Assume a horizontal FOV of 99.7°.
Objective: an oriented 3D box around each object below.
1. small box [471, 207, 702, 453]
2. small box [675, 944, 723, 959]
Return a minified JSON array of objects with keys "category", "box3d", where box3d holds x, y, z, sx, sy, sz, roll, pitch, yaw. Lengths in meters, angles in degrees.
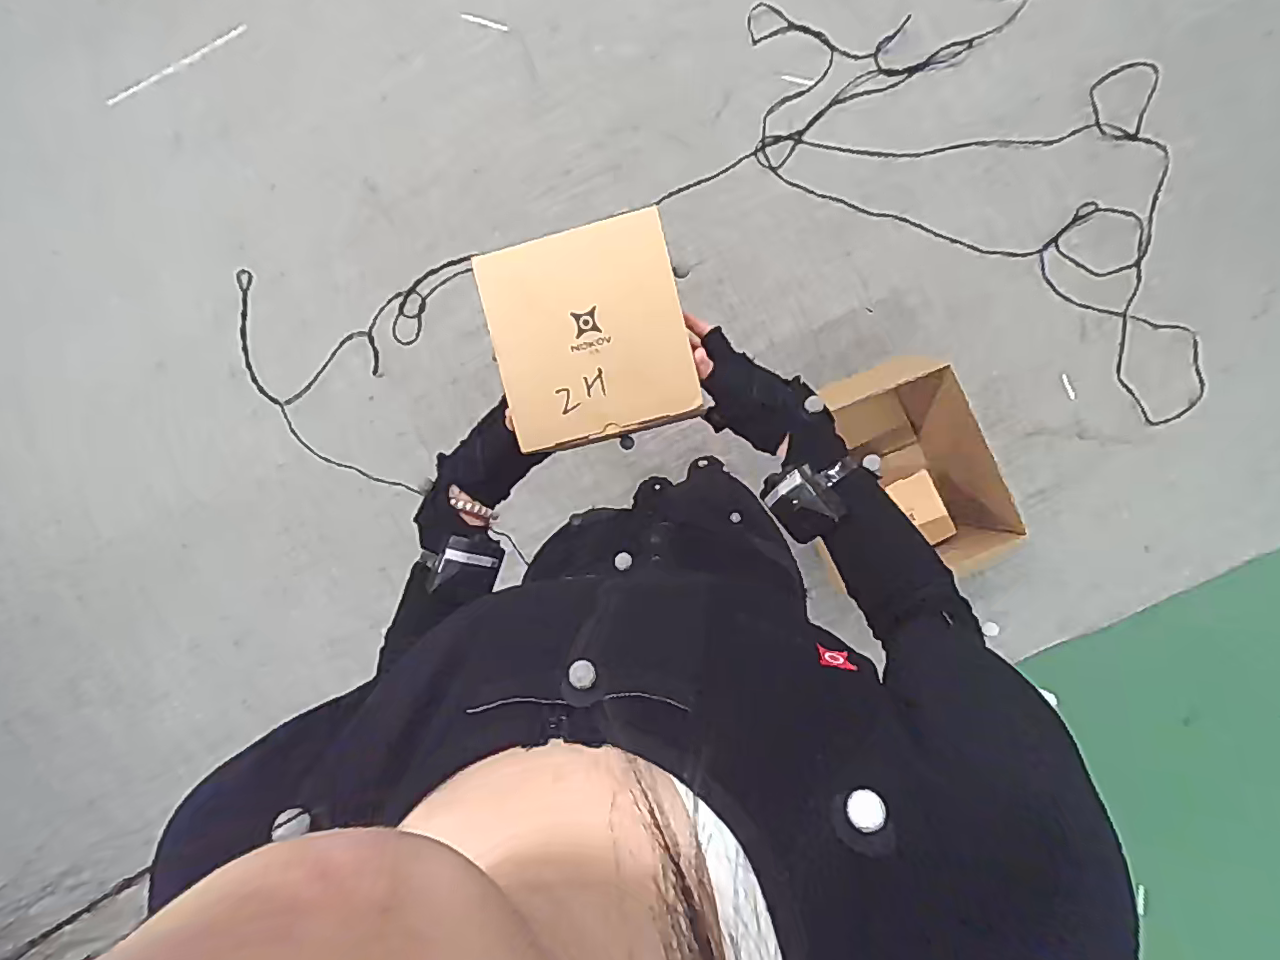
[{"category":"small box","box3d":[-0.041,-0.129,0.533,0.168,0.176,0.179,-14,94,5]},{"category":"small box","box3d":[0.157,1.376,1.404,0.179,0.176,0.168,-27,89,2]}]
